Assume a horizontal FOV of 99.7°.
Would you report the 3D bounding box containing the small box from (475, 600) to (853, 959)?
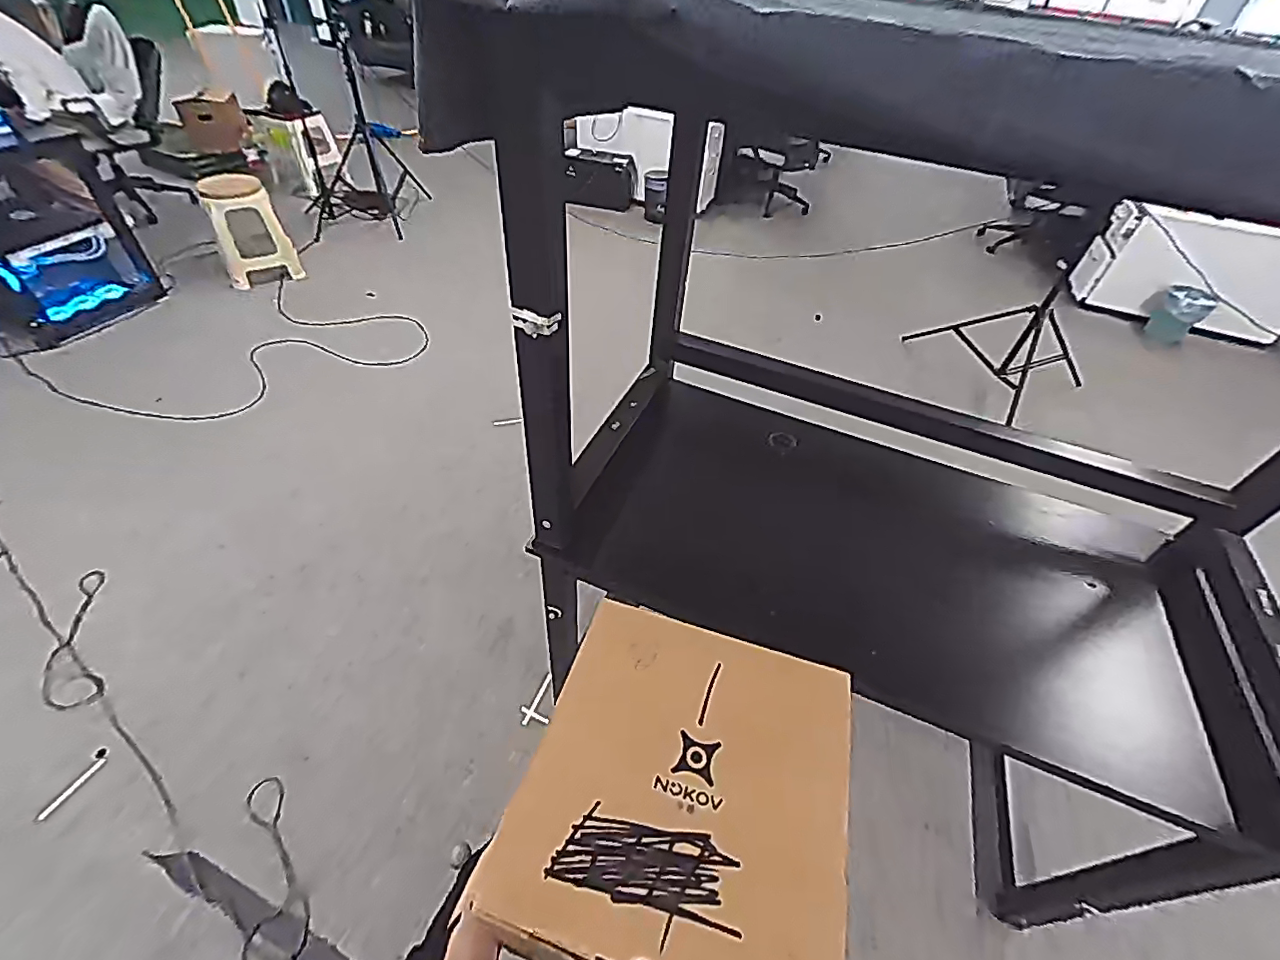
[{"bbox_3d":[0.023,0.213,0.342,0.168,0.176,0.179,15,44,10],"label":"small box"}]
